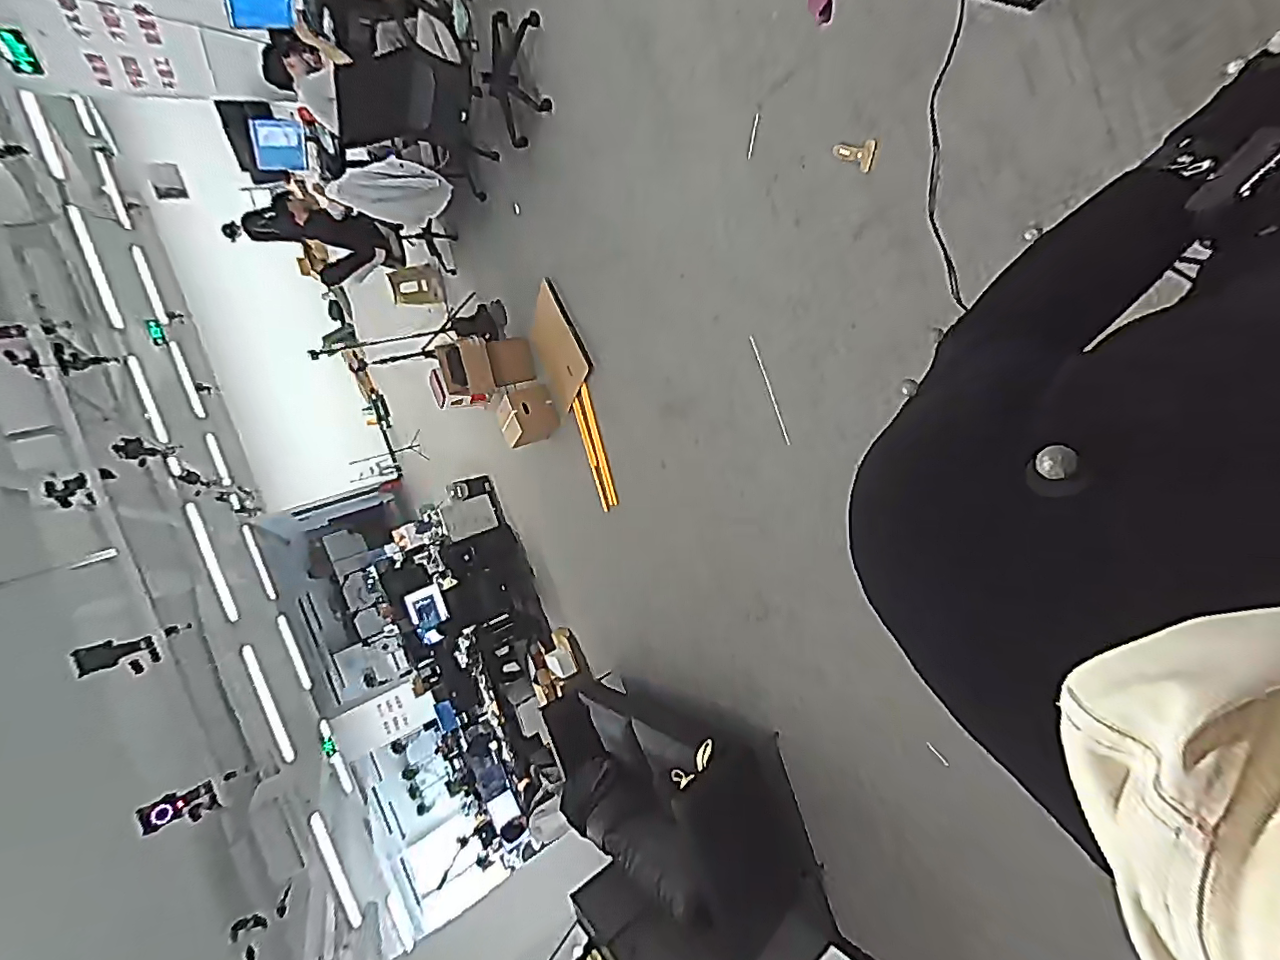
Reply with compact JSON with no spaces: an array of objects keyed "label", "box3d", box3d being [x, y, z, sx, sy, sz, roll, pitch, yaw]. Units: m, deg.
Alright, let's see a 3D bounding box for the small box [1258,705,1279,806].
[{"label":"small box","box3d":[1.470,0.601,1.142,0.179,0.176,0.168,-9,100,61]}]
